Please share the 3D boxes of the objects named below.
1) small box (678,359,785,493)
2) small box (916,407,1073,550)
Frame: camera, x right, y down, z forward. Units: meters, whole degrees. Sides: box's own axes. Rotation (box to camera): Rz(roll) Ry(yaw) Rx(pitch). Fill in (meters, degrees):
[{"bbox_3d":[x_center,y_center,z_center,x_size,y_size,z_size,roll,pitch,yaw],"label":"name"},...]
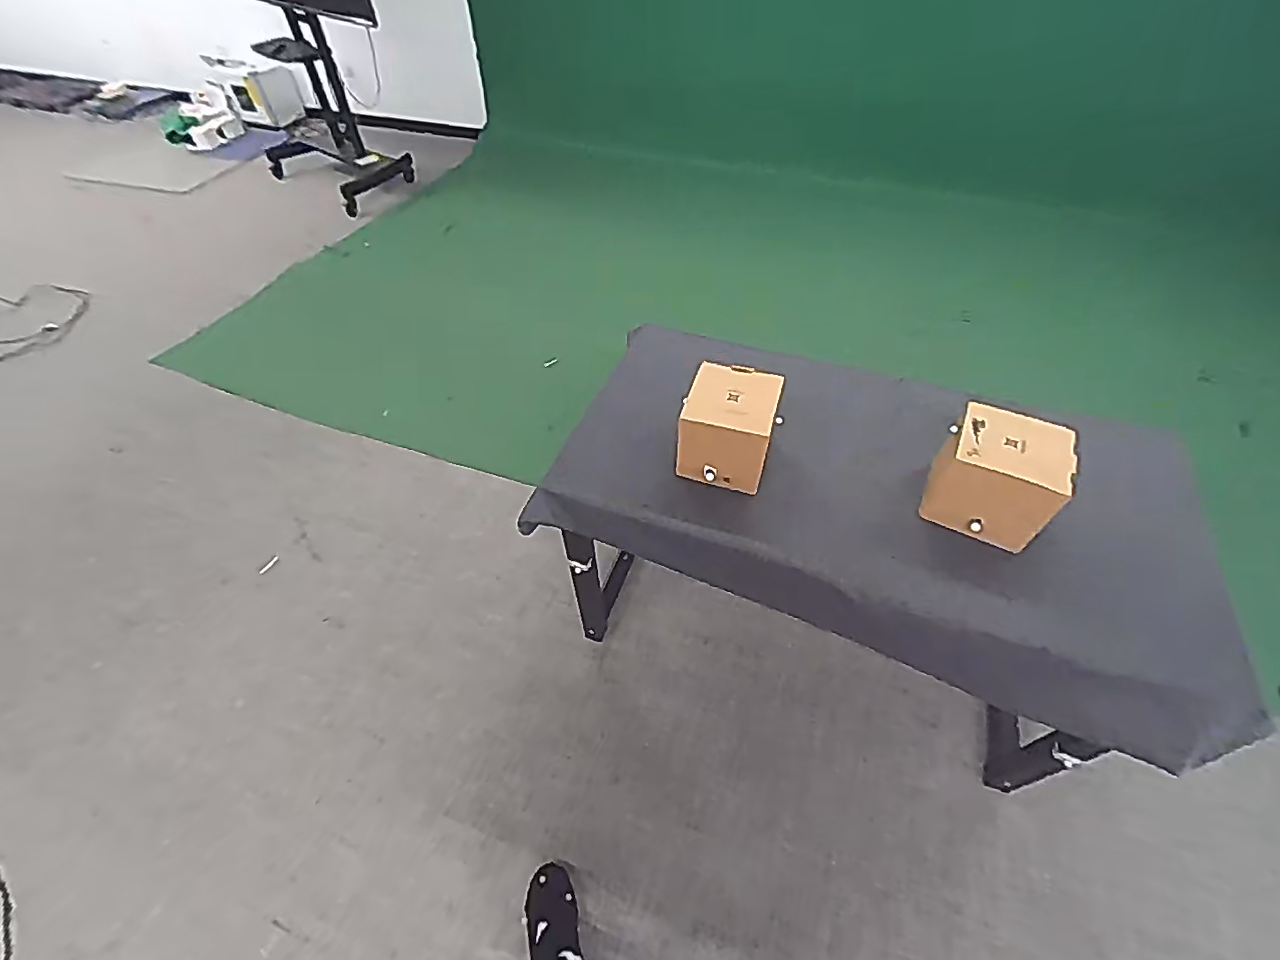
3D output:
[{"bbox_3d":[0.174,-0.106,1.059,0.168,0.176,0.179,14,51,15],"label":"small box"},{"bbox_3d":[0.639,0.003,0.984,0.179,0.176,0.168,23,54,18],"label":"small box"}]
